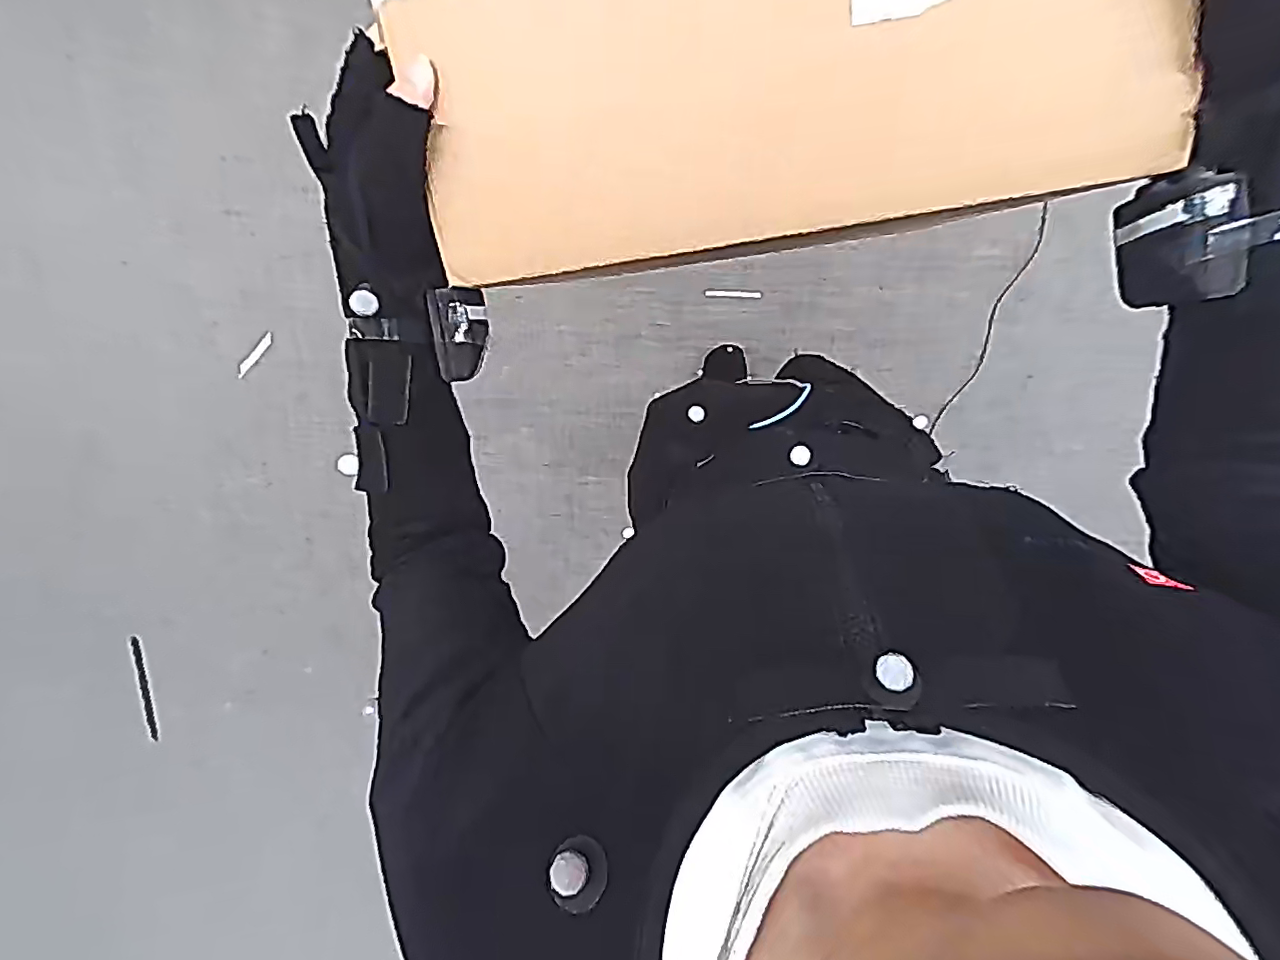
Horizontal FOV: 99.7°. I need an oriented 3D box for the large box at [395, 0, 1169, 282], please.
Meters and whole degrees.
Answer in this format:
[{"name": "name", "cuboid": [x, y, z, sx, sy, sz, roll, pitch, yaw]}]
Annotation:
[{"name": "large box", "cuboid": [0.069, -0.346, 0.411, 0.408, 0.320, 0.320, -7, 110, 8]}]
